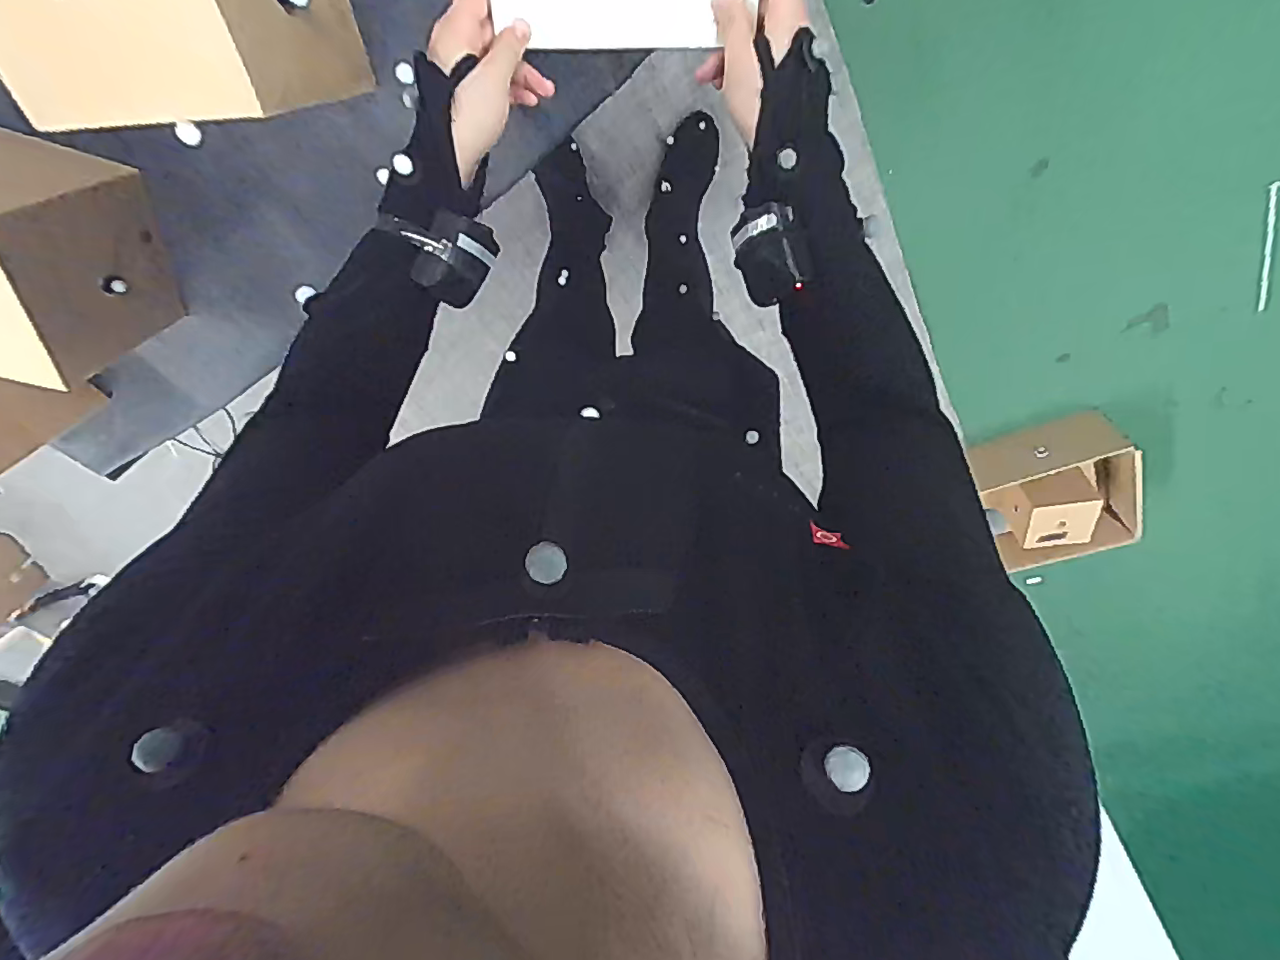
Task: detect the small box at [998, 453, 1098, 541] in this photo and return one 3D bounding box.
[{"bbox_3d":[1.147,0.048,1.538,0.168,0.176,0.179,-9,132,15],"label":"small box"}]

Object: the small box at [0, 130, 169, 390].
[{"bbox_3d":[-0.605,-0.217,0.516,0.179,0.176,0.168,15,132,-8],"label":"small box"}]

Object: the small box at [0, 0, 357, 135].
[{"bbox_3d":[-0.325,-0.350,0.365,0.179,0.176,0.168,1,133,7],"label":"small box"}]
